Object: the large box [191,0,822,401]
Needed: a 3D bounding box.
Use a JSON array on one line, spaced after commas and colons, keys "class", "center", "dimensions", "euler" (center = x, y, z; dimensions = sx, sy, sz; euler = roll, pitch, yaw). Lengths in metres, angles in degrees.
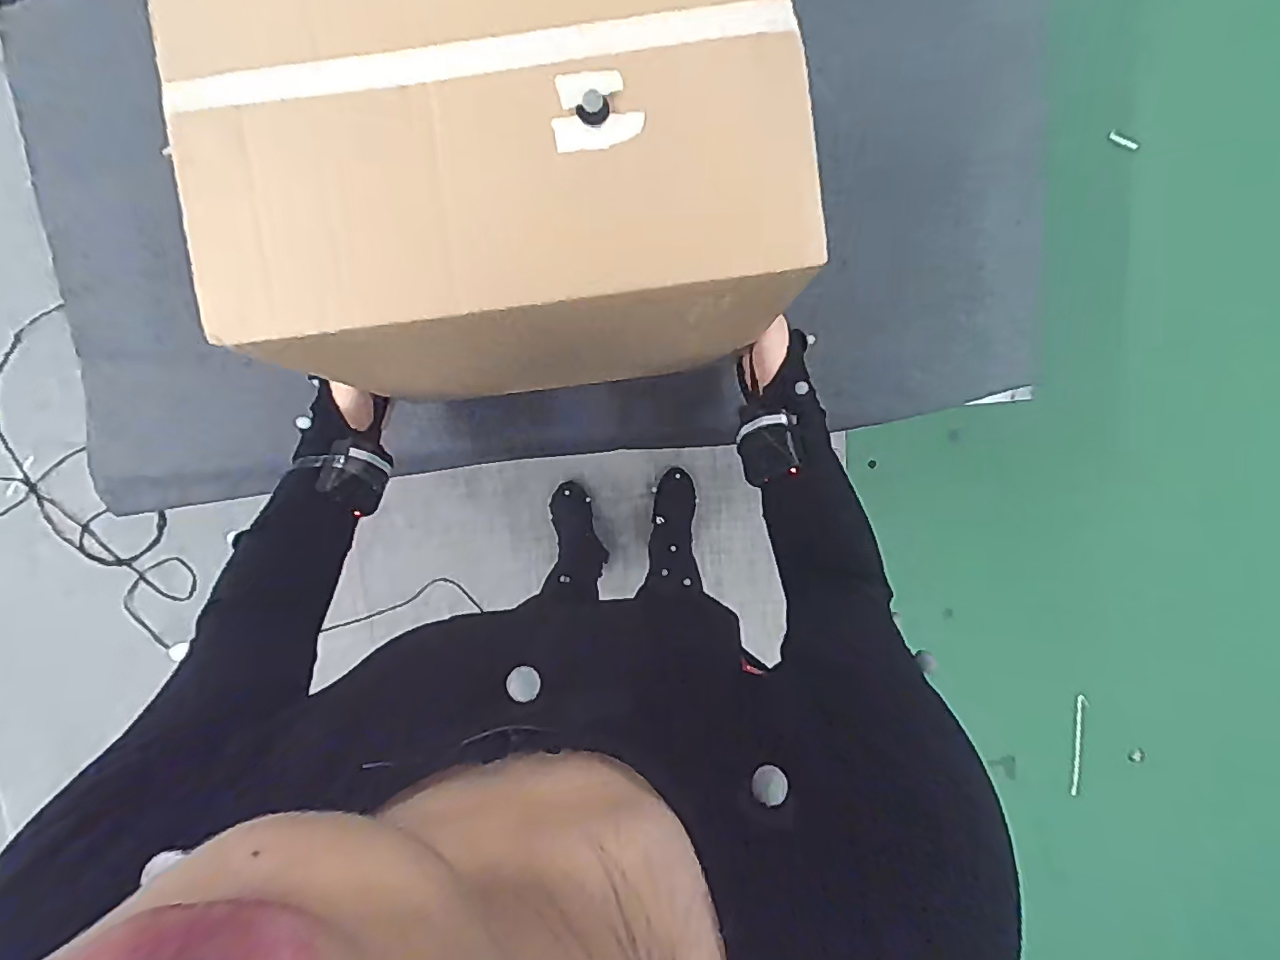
[{"class": "large box", "center": [-0.097, -0.275, 0.511], "dimensions": [0.408, 0.320, 0.320], "euler": [-8, 91, -1]}]
